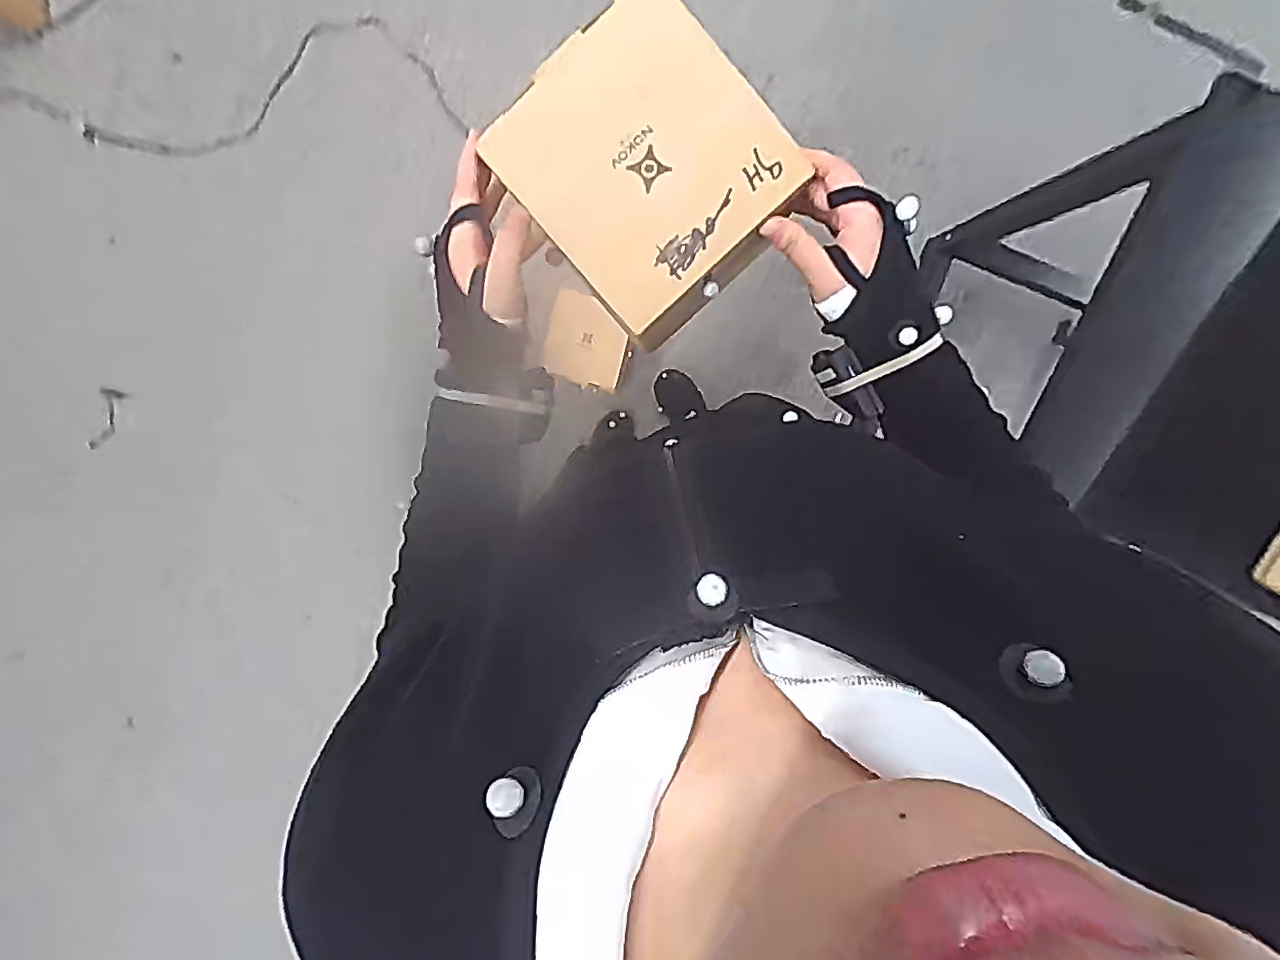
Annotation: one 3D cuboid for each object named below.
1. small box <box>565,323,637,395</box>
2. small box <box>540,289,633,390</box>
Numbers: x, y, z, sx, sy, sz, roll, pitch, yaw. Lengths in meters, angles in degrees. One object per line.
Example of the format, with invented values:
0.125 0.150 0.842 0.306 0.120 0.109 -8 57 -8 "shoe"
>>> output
-0.111 -0.323 1.364 0.168 0.176 0.179 17 100 -2 "small box"
-0.112 -0.303 1.203 0.168 0.176 0.179 13 98 -3 "small box"
